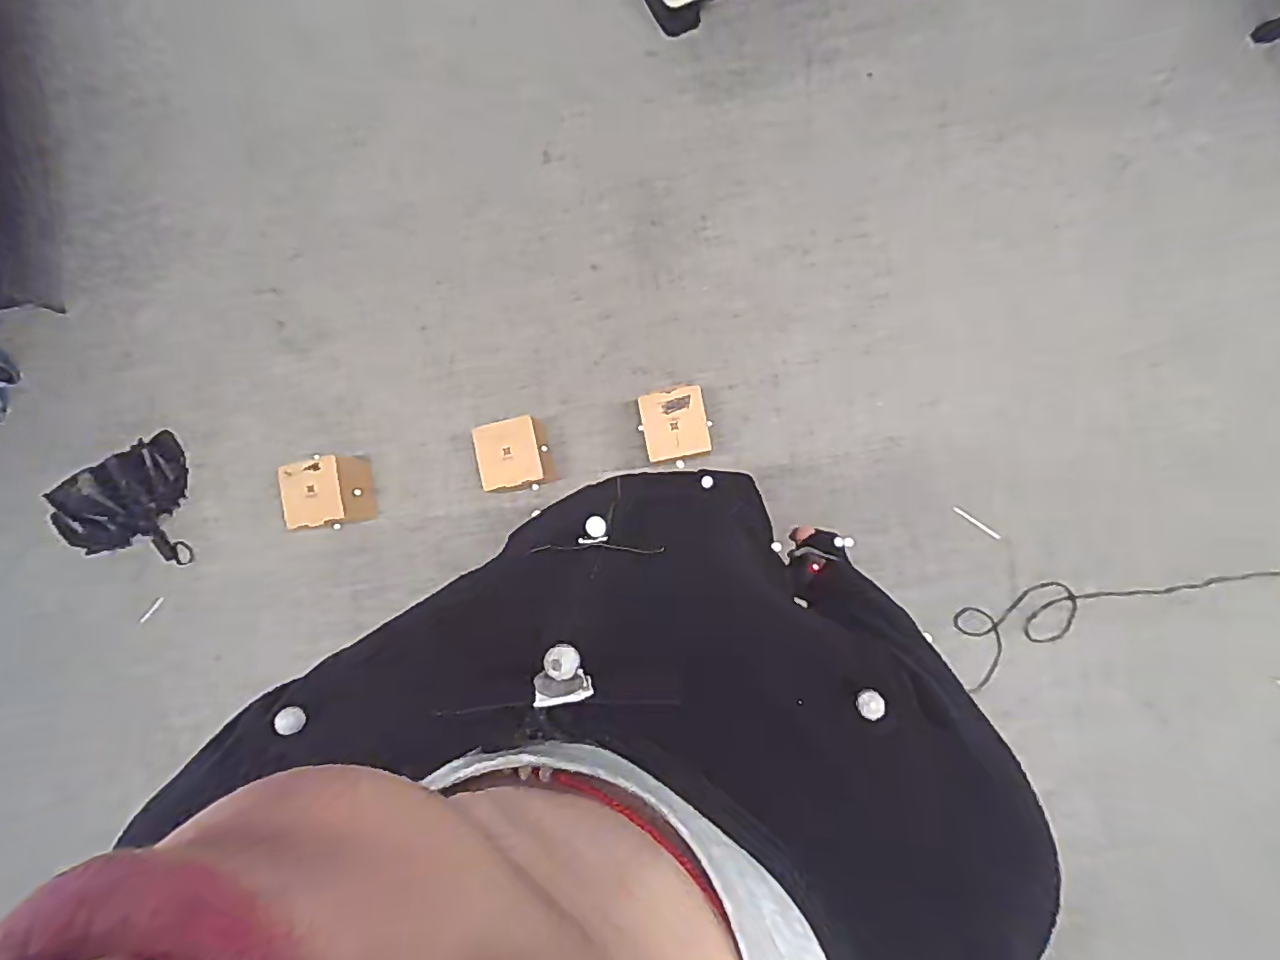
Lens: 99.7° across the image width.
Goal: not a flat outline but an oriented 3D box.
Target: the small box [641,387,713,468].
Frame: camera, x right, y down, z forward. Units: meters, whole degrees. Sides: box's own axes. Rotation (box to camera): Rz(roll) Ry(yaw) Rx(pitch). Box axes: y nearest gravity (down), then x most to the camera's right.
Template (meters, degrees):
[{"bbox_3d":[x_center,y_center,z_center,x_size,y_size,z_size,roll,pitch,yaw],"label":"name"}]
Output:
[{"bbox_3d":[0.101,-0.136,1.466,0.168,0.176,0.179,-10,86,5],"label":"small box"}]

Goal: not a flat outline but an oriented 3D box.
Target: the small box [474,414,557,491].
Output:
[{"bbox_3d":[-0.339,-0.069,1.506,0.168,0.176,0.179,-12,84,3],"label":"small box"}]

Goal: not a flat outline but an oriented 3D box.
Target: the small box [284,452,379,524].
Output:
[{"bbox_3d":[-0.872,0.025,1.545,0.168,0.176,0.179,-11,86,3],"label":"small box"}]
